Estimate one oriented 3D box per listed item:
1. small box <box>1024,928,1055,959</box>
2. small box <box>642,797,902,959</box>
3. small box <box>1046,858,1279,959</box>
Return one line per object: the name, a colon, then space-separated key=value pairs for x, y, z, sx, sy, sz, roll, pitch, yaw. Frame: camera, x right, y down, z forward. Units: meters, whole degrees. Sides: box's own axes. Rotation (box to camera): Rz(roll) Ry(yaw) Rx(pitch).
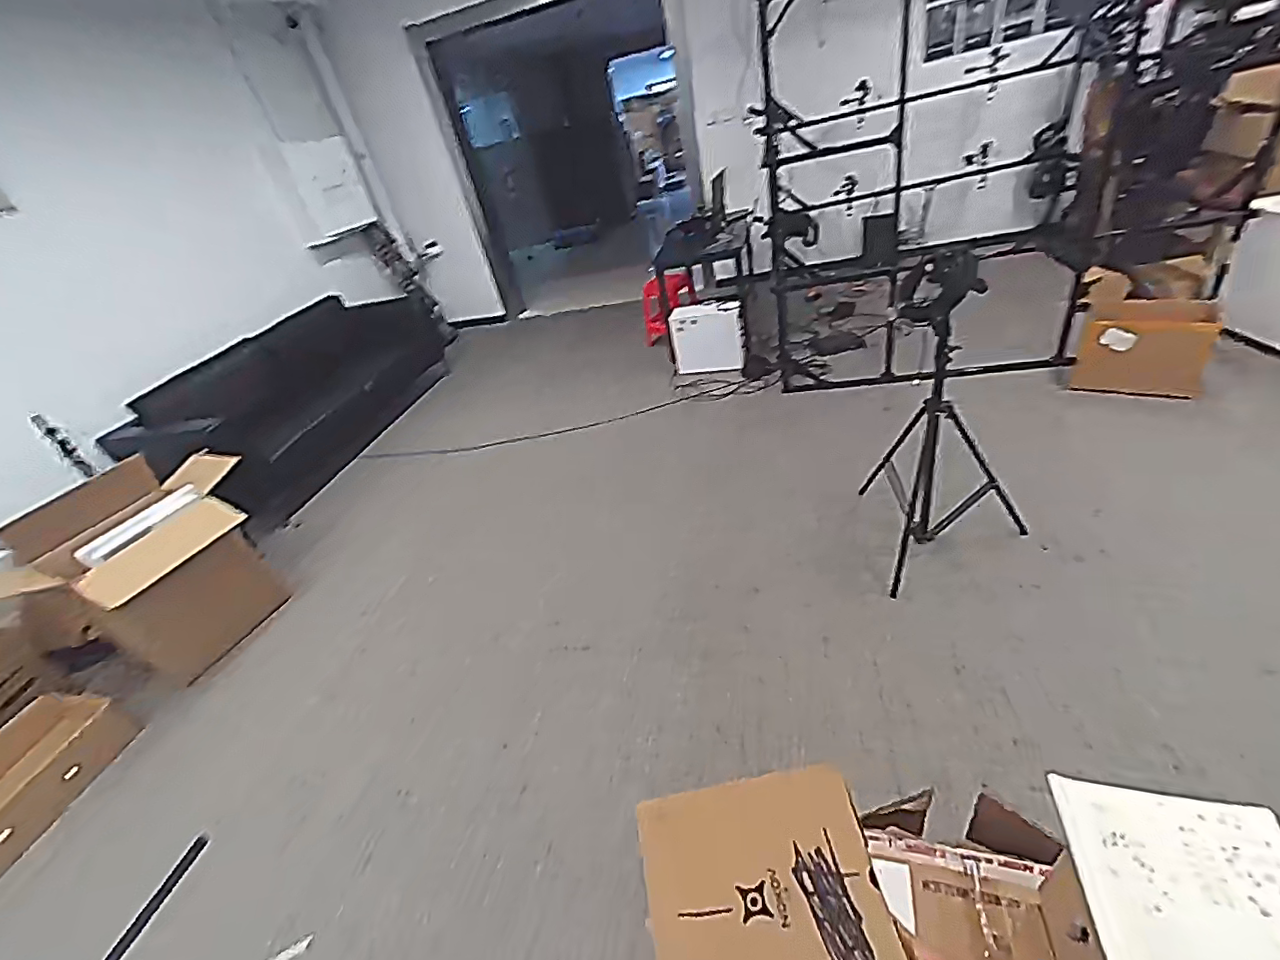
small box: x=0.579 y=0.664 z=0.634 sx=0.179 sy=0.176 sz=0.168 roll=-3 pitch=36 yaw=14
small box: x=0.107 y=0.390 z=0.458 sx=0.179 sy=0.176 sz=0.168 roll=-12 pitch=48 yaw=0
small box: x=0.550 y=0.528 z=0.548 sx=0.168 sy=0.176 sz=0.179 roll=0 pitch=37 yaw=16
